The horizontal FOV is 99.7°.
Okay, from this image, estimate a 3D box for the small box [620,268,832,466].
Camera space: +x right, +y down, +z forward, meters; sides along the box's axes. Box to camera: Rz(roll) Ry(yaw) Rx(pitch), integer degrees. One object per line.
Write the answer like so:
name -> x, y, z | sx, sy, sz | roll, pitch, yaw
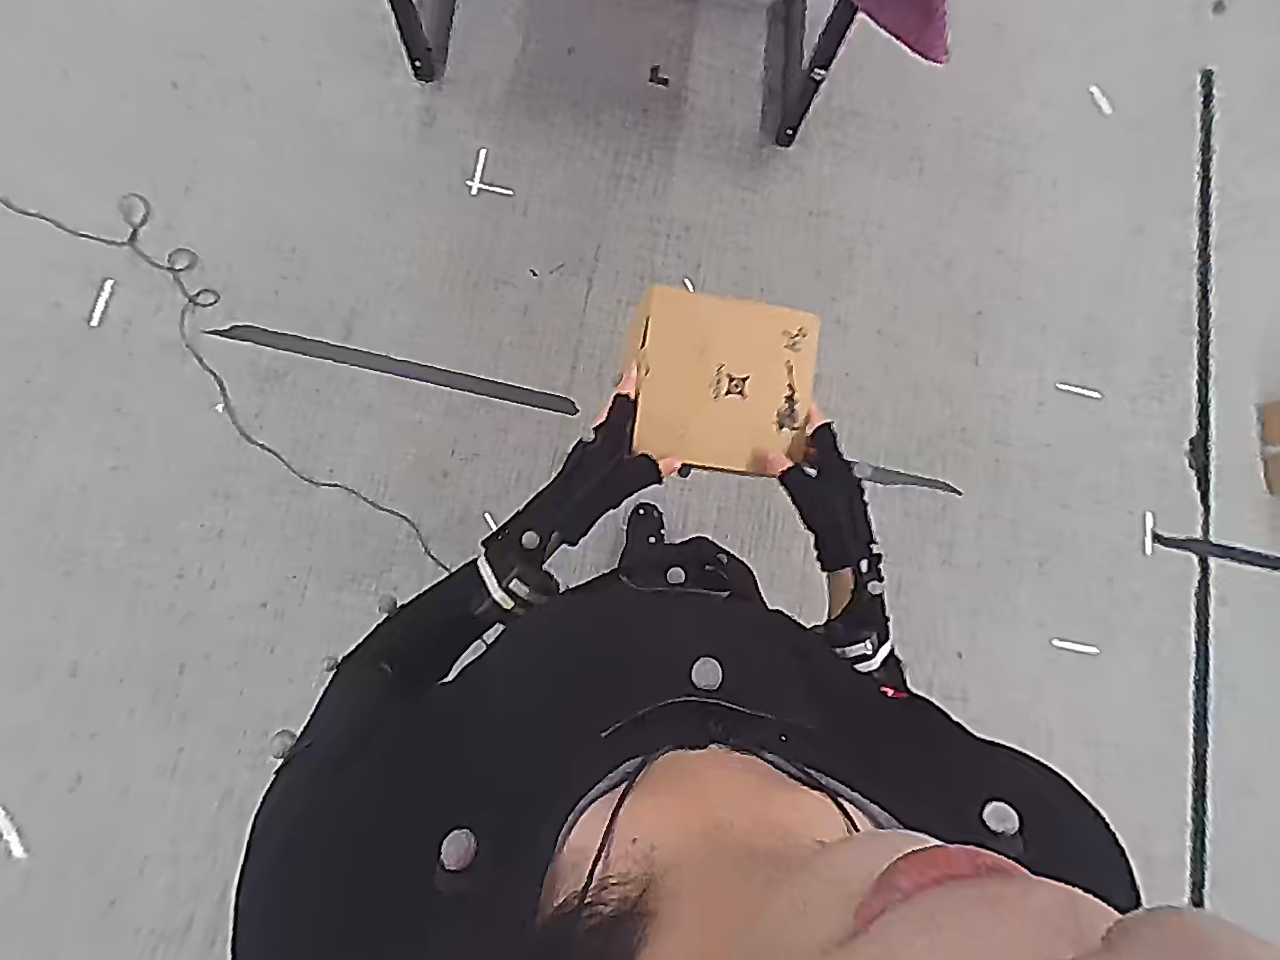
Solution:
small box -> 0.078, -0.106, 0.587 | 0.179, 0.176, 0.168 | 7, 91, -9
